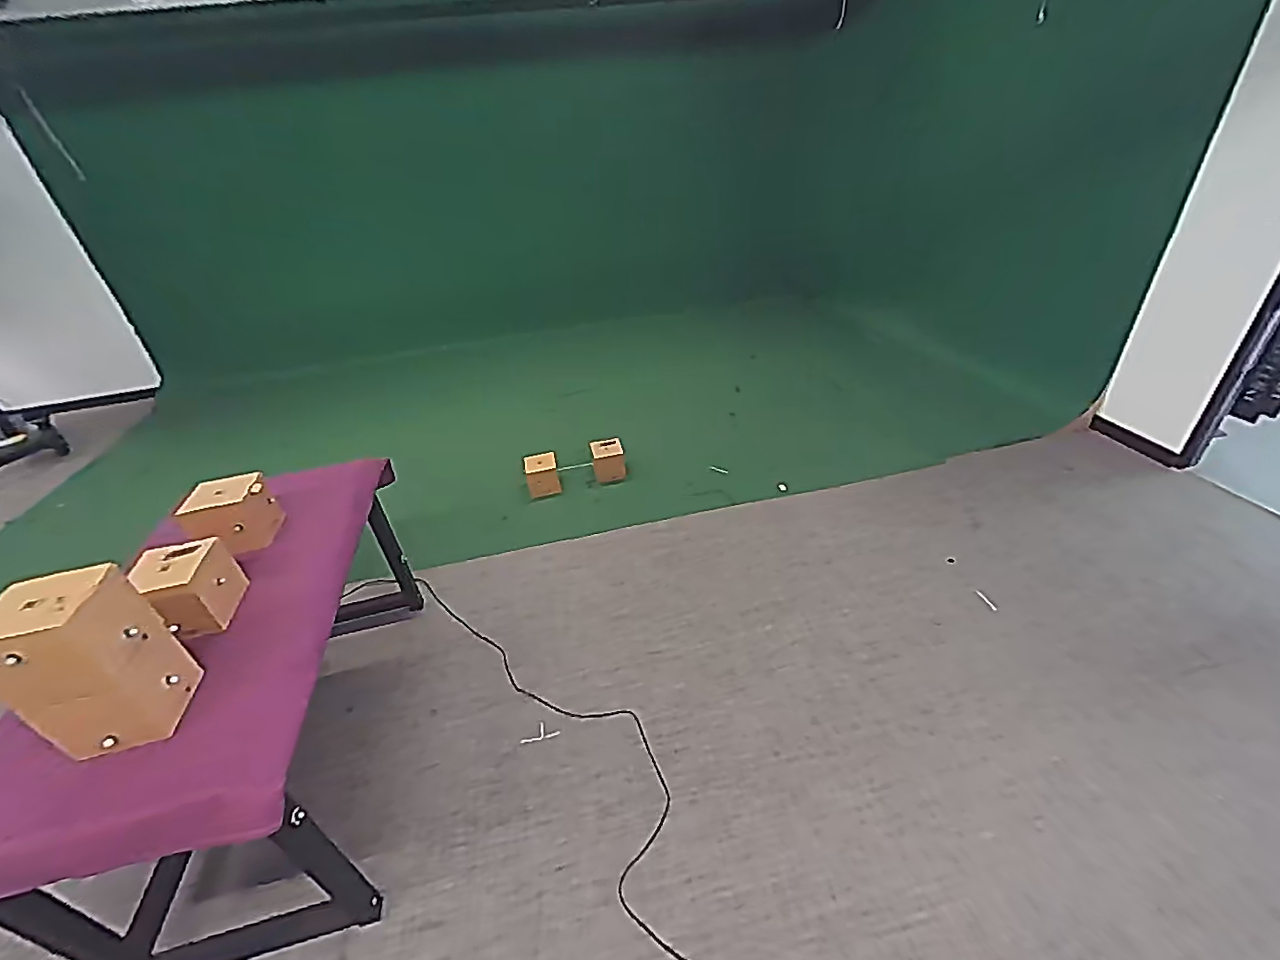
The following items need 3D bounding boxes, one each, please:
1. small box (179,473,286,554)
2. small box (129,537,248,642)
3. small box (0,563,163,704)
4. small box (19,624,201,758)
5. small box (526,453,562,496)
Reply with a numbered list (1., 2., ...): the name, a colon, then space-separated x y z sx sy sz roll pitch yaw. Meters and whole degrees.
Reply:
1. small box: -1.188 0.104 1.596 0.179 0.176 0.168 -12 34 -8
2. small box: -1.113 0.272 1.334 0.168 0.176 0.179 -12 35 -9
3. small box: -1.061 0.287 1.006 0.179 0.176 0.168 -12 35 -9
4. small box: -1.048 0.425 1.095 0.179 0.176 0.168 -11 33 -9
5. small box: -0.528 -0.023 2.980 0.168 0.176 0.179 -12 33 -8
